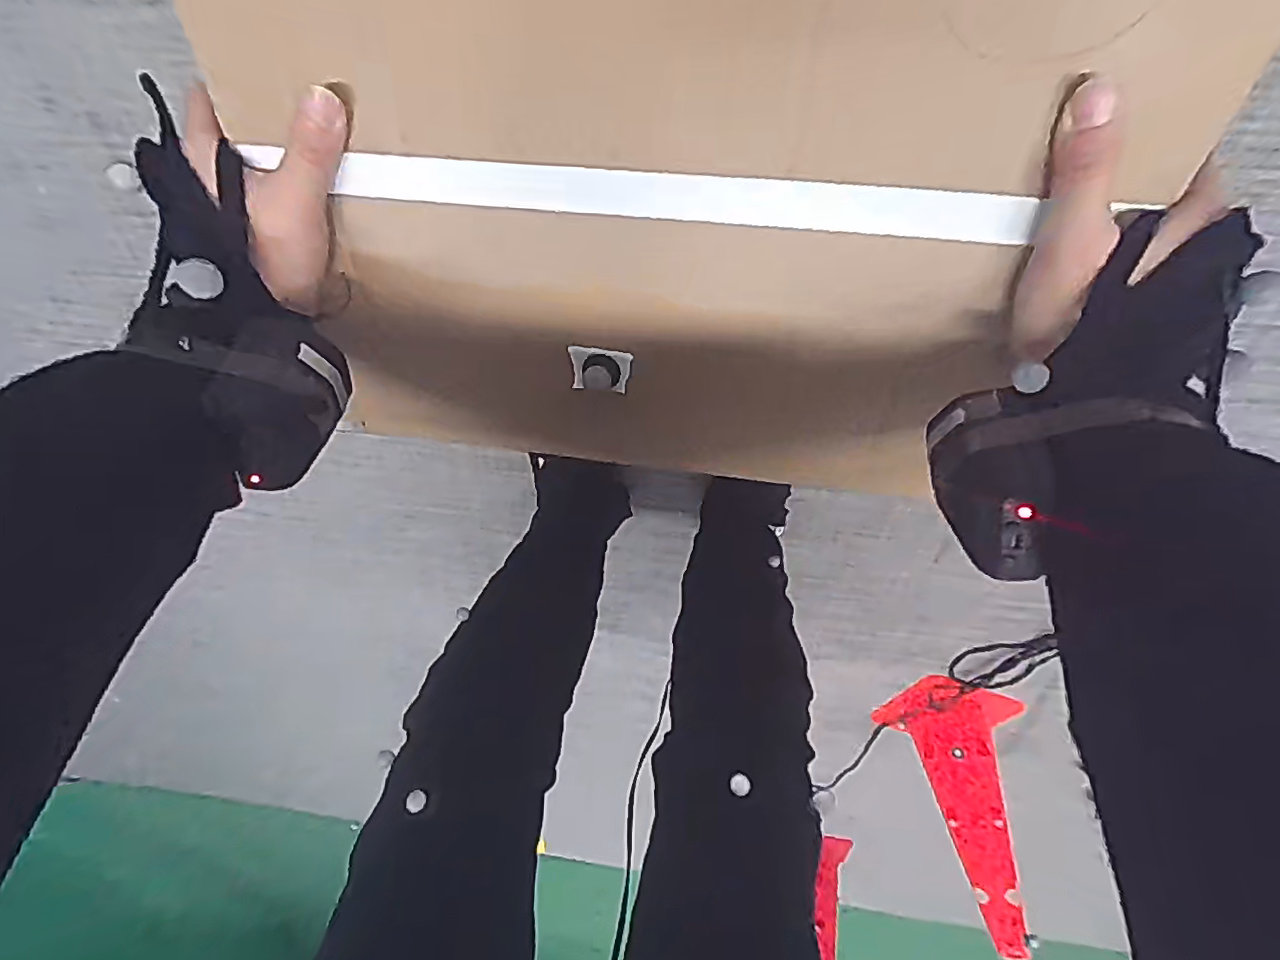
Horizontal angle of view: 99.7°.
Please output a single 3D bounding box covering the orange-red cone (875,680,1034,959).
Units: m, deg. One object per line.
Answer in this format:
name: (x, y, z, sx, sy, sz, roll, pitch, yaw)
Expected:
orange-red cone: (0.542, 0.542, 0.864, 0.199, 0.360, 0.198, 20, 131, -8)
